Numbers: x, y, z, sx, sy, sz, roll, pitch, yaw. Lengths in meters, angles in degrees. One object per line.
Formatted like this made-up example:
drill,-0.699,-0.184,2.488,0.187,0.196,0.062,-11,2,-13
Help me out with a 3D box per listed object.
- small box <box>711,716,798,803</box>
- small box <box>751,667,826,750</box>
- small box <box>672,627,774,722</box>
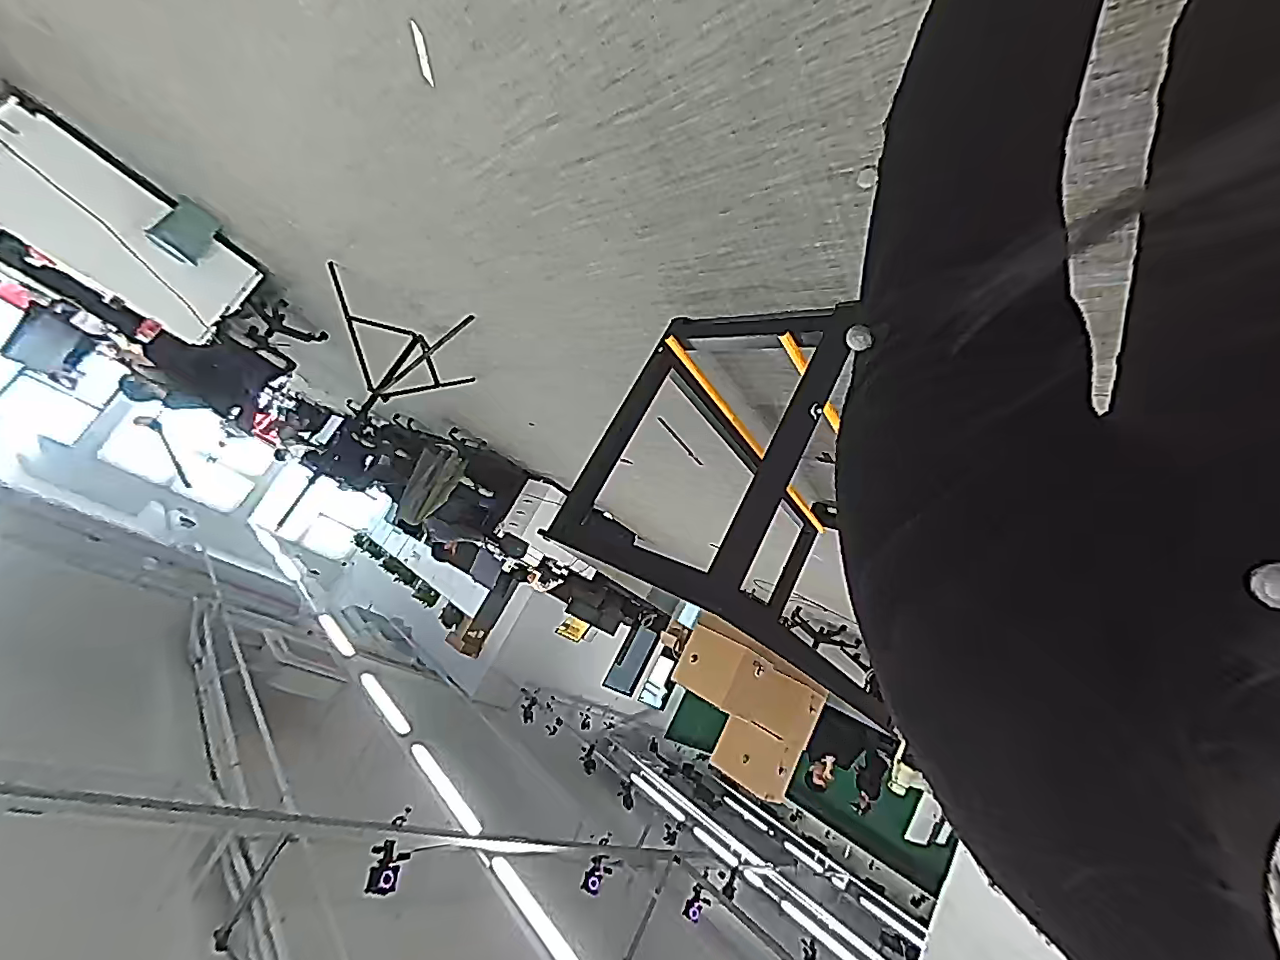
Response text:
small box,0.350,0.822,1.609,0.179,0.176,0.168,13,159,47
small box,0.432,0.683,1.640,0.179,0.176,0.168,15,161,45
small box,0.224,0.509,1.438,0.179,0.176,0.168,13,160,47
